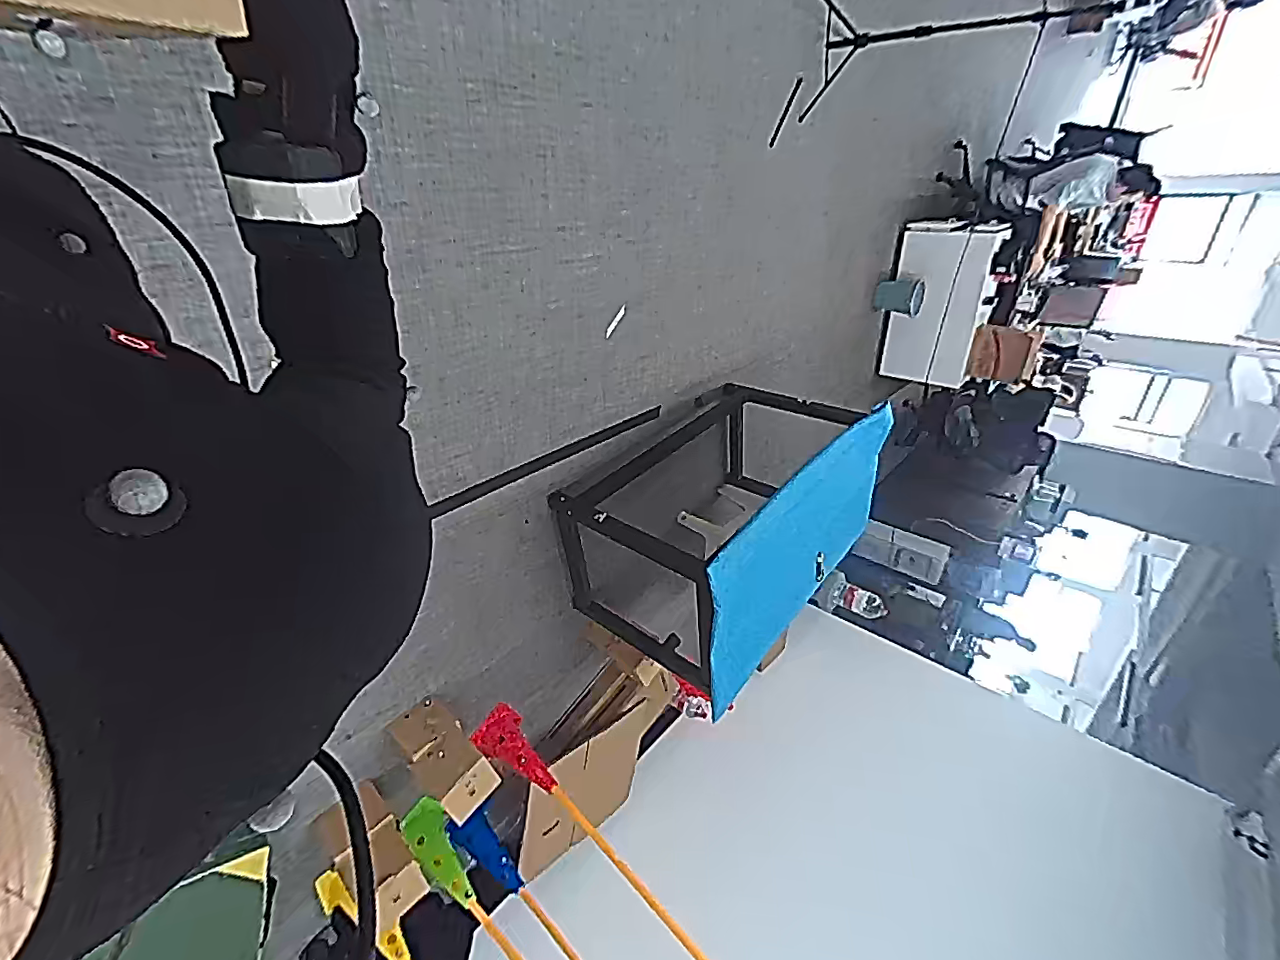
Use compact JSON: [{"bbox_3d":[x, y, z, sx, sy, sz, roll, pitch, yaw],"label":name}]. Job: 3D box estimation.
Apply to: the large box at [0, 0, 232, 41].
[{"bbox_3d":[-0.434,-0.342,0.143,0.408,0.320,0.320,-28,136,-41],"label":"large box"}]
